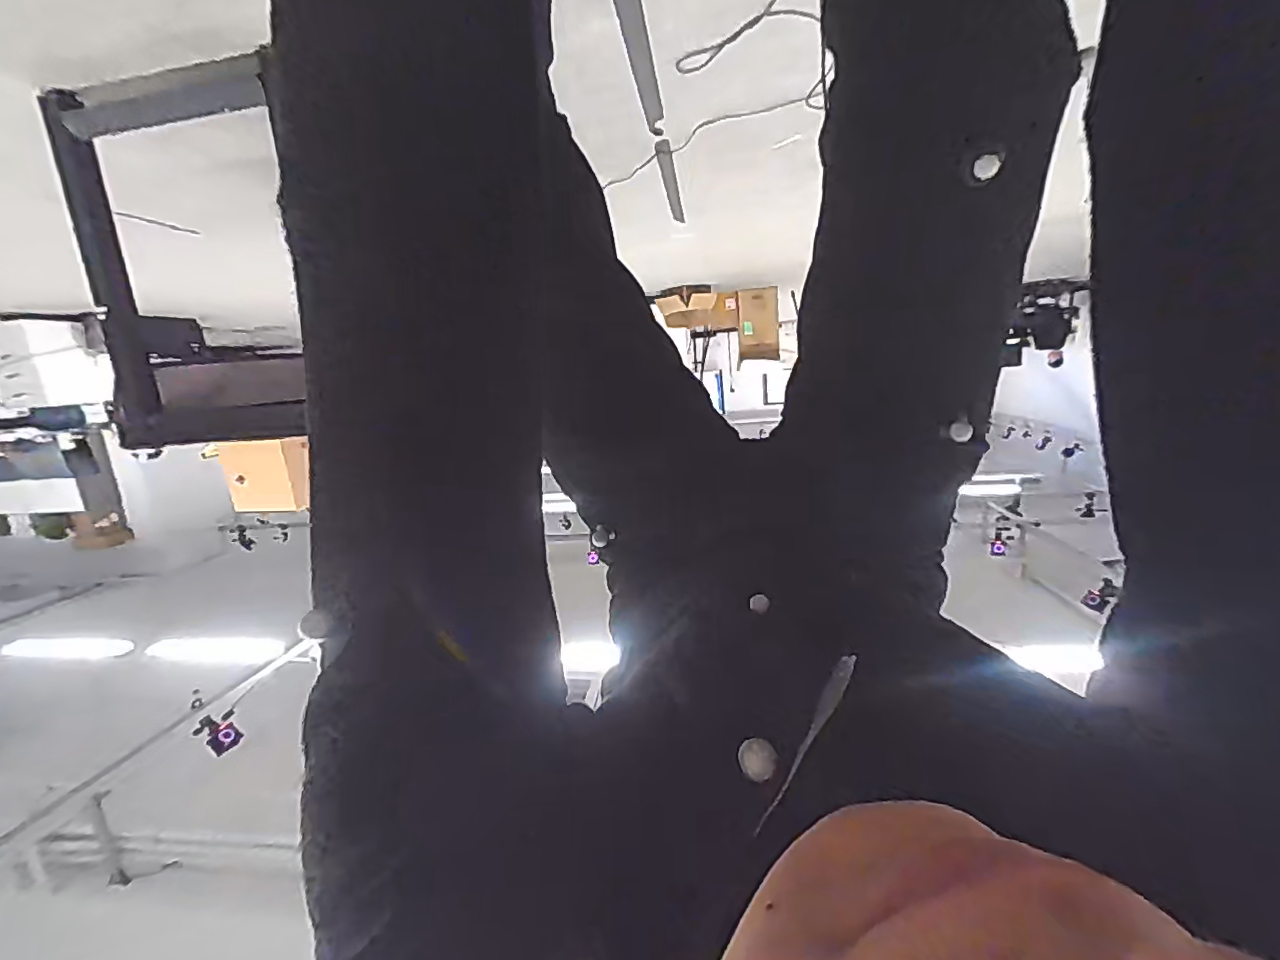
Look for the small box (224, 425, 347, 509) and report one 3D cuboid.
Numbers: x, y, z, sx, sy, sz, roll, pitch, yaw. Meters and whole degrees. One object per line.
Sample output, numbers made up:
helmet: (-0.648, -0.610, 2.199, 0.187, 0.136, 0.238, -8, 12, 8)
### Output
small box: (-0.839, -0.036, 1.280, 0.179, 0.176, 0.168, -1, -165, 13)
